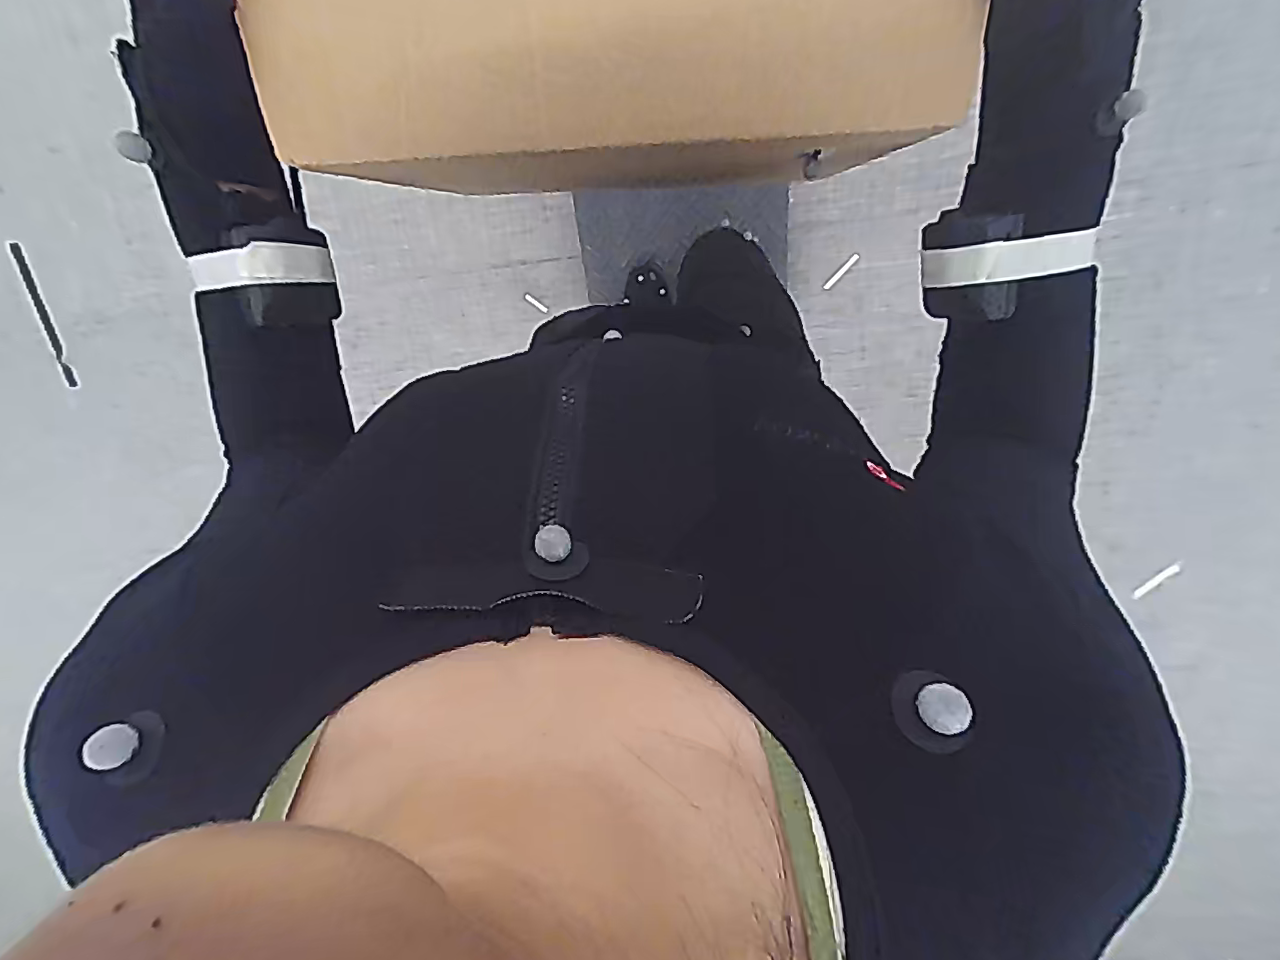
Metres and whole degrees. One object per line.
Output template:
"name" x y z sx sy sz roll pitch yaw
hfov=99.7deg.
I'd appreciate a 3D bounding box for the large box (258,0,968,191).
"large box" -0.013 -0.406 0.401 0.408 0.320 0.320 0 114 5
